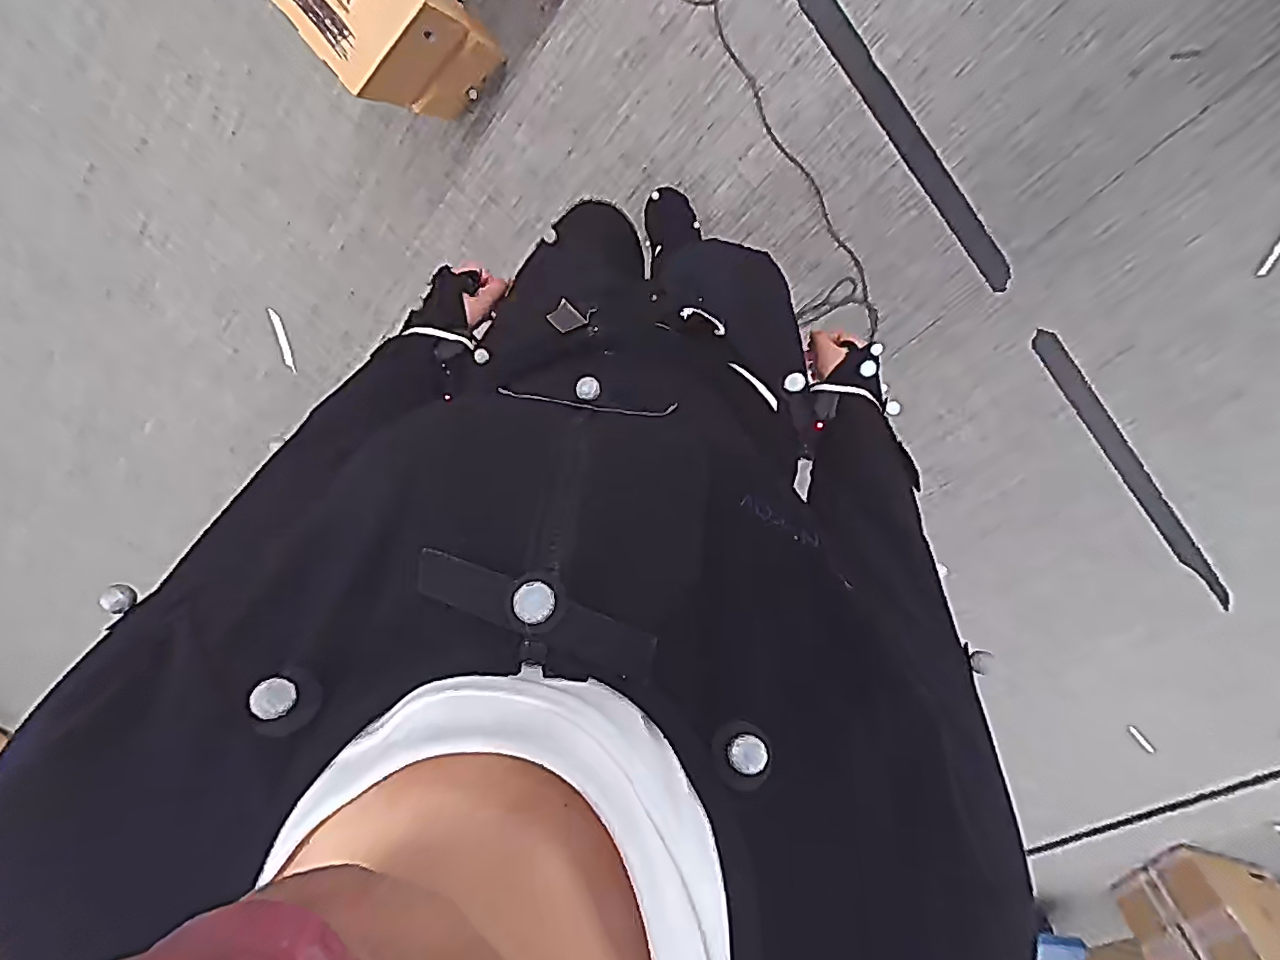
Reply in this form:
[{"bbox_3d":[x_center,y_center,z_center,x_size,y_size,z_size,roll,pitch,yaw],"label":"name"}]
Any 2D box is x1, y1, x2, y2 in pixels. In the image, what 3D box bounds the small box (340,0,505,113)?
[{"bbox_3d":[-0.373,-0.789,0.957,0.168,0.176,0.179,-33,113,22],"label":"small box"}]
